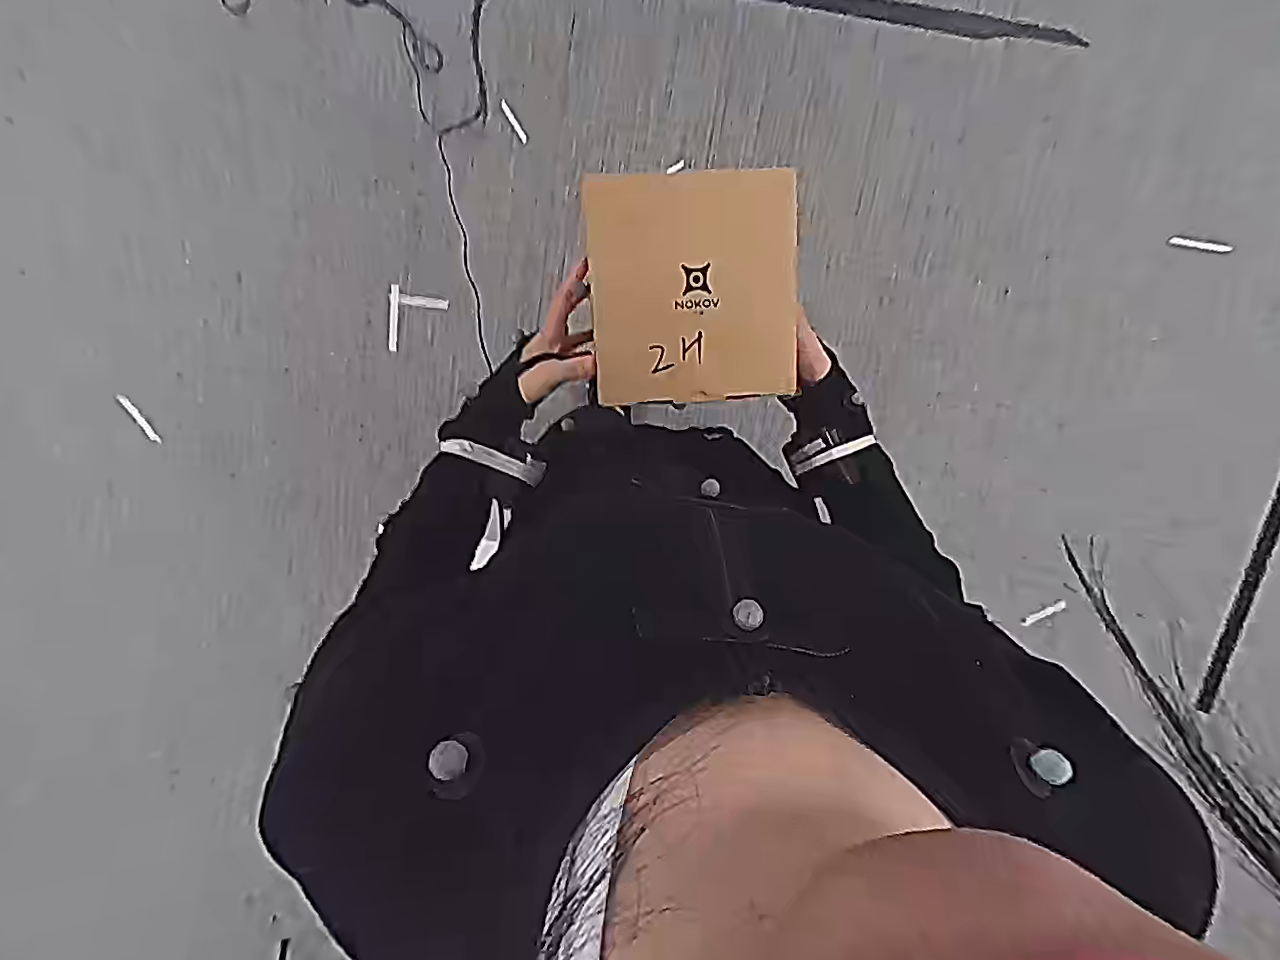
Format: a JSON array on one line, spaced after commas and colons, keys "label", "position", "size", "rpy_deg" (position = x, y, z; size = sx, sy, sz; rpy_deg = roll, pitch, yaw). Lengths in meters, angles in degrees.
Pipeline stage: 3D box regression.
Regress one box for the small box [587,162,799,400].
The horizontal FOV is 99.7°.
[{"label": "small box", "position": [0.039, -0.168, 0.505], "size": [0.168, 0.176, 0.179], "rpy_deg": [-5, 101, -3]}]
